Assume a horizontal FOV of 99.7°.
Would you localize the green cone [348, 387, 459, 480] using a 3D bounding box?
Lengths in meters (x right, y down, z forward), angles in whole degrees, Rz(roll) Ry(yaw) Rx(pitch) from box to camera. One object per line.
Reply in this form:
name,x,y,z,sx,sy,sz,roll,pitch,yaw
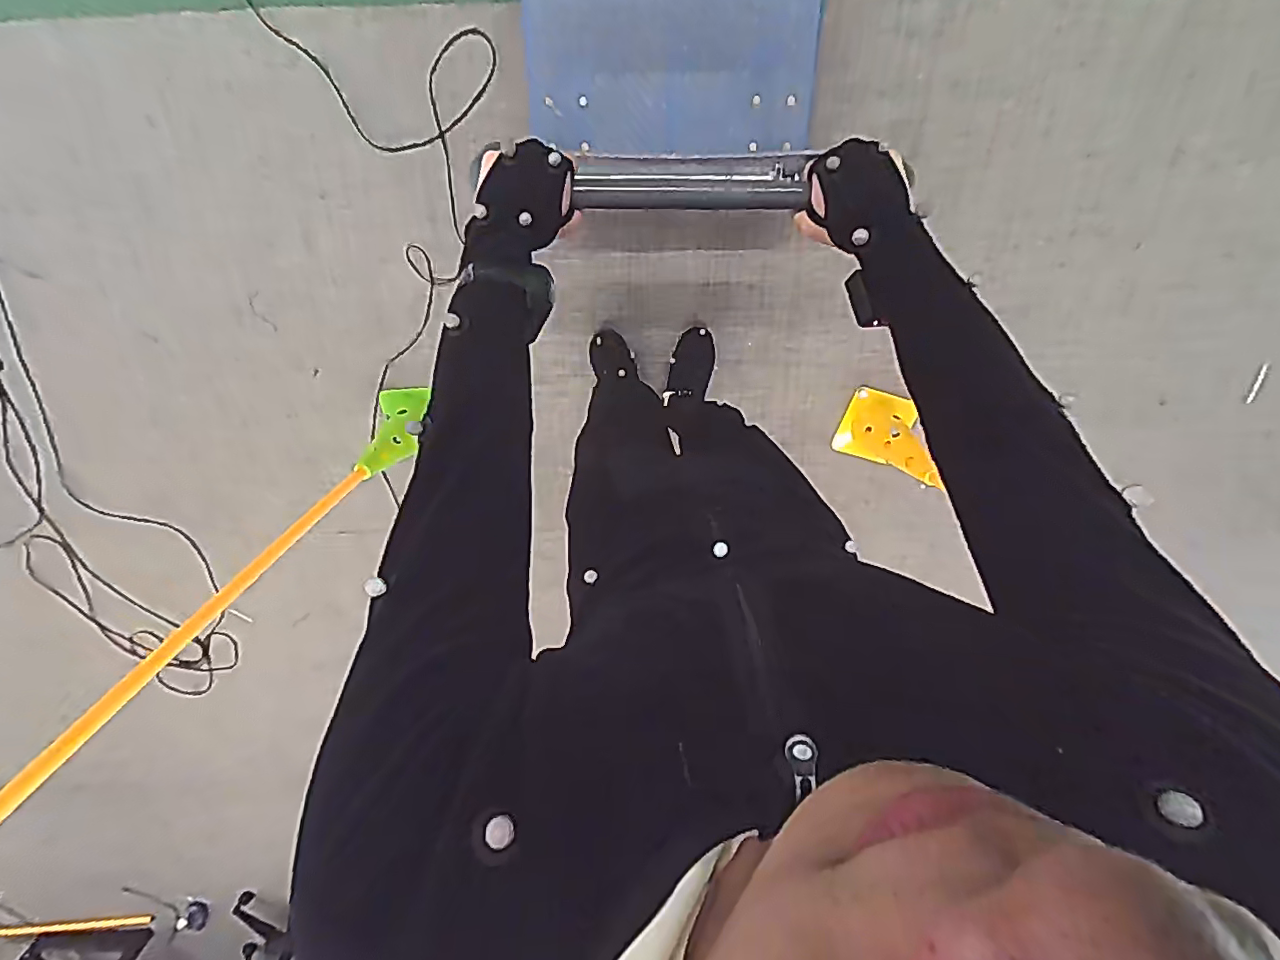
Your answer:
green cone,-0.651,-0.098,1.427,0.202,0.368,0.200,-4,115,5
